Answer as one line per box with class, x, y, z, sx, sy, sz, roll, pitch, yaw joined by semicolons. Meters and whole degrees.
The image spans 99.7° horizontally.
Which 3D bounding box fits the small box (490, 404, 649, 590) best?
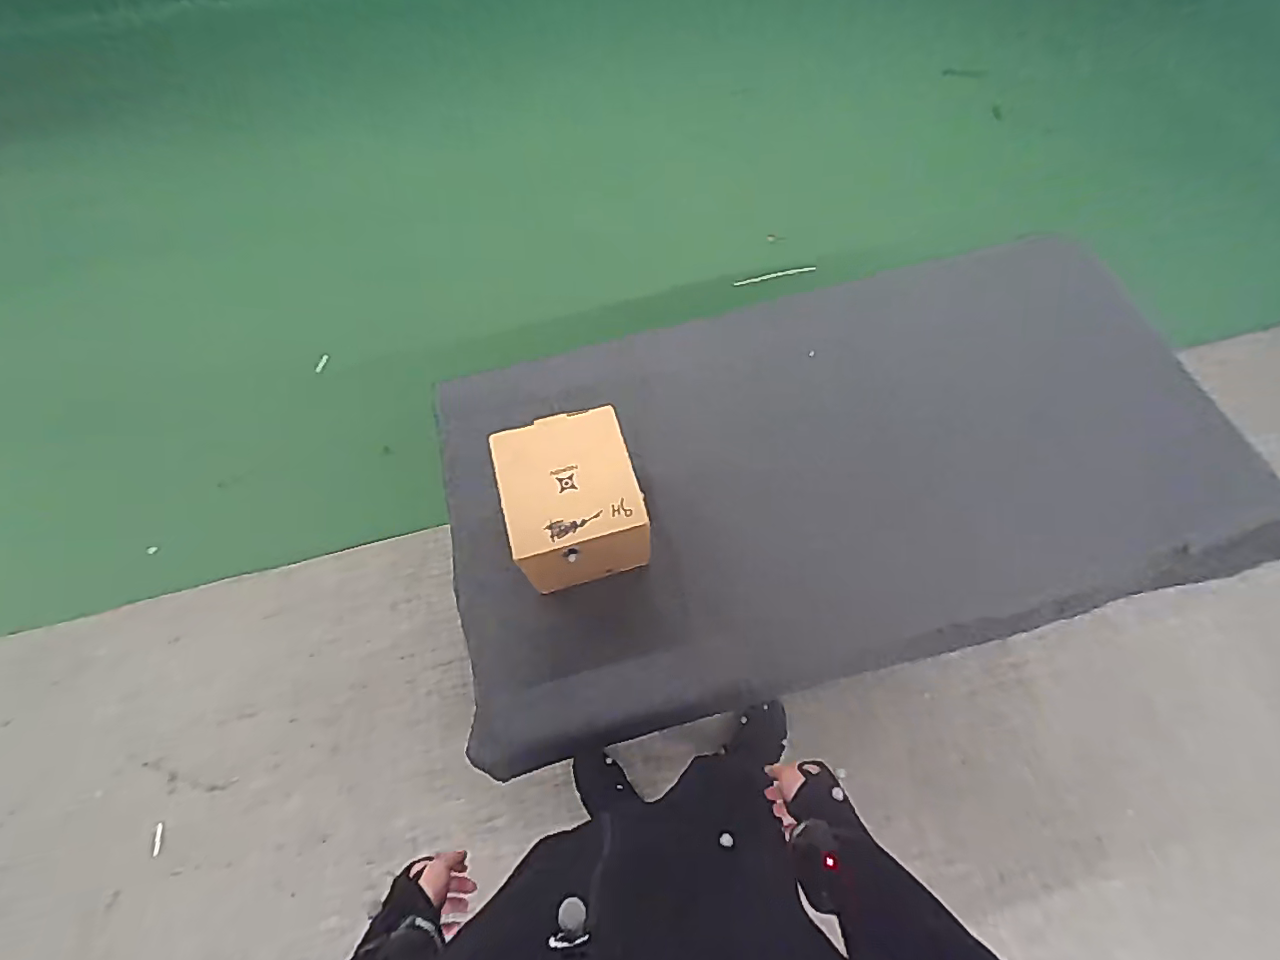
small box;-0.090;0.029;0.735;0.168;0.176;0.179;-16;66;-6
